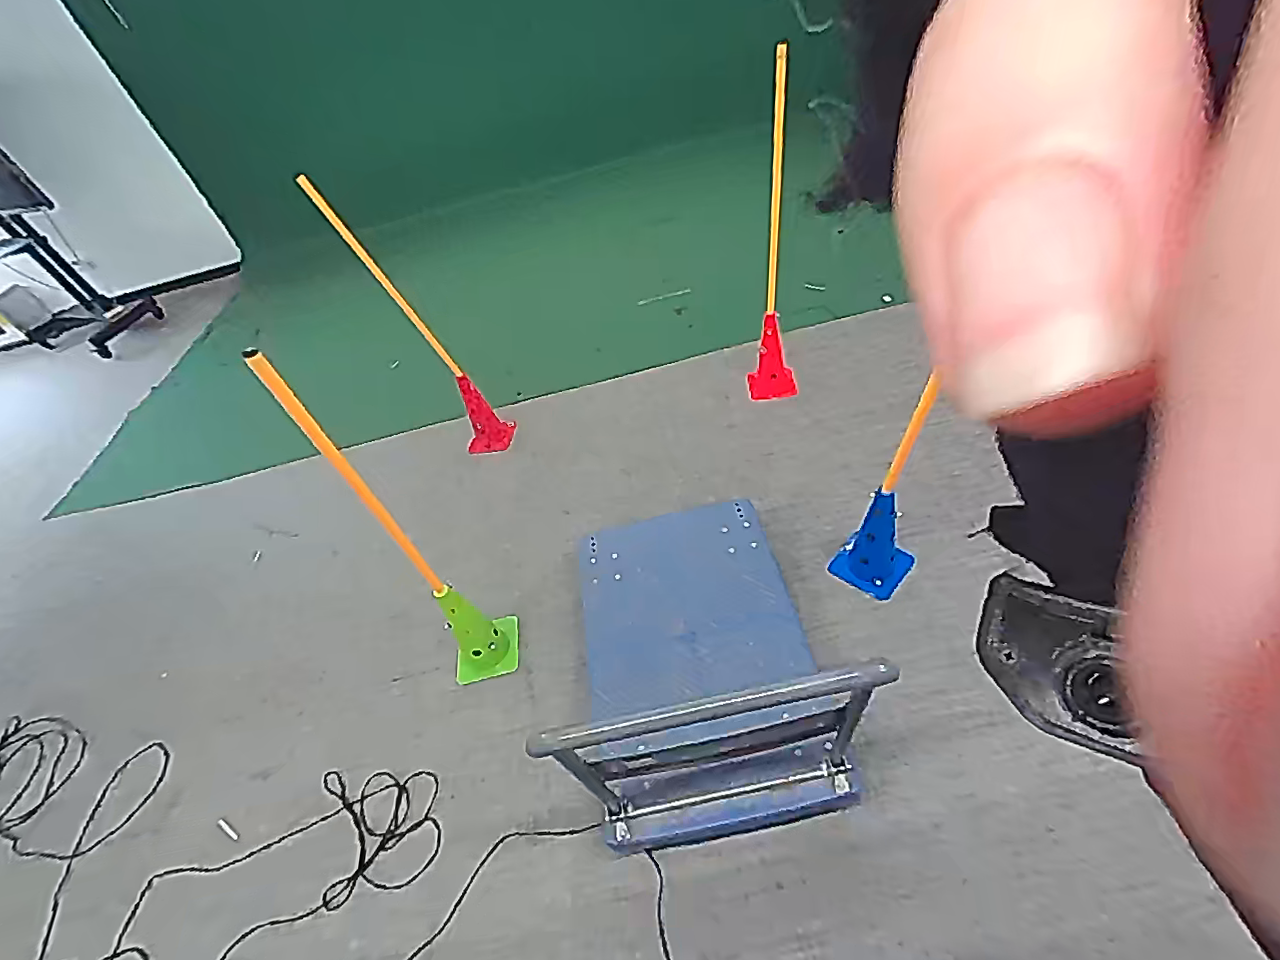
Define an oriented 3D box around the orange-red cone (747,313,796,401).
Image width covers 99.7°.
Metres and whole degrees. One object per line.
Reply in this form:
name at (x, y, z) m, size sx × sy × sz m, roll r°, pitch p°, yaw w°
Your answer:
orange-red cone at (0.546, -0.534, 2.268) m, size 0.198 × 0.360 × 0.199 m, roll -6°, pitch 47°, yaw 10°
